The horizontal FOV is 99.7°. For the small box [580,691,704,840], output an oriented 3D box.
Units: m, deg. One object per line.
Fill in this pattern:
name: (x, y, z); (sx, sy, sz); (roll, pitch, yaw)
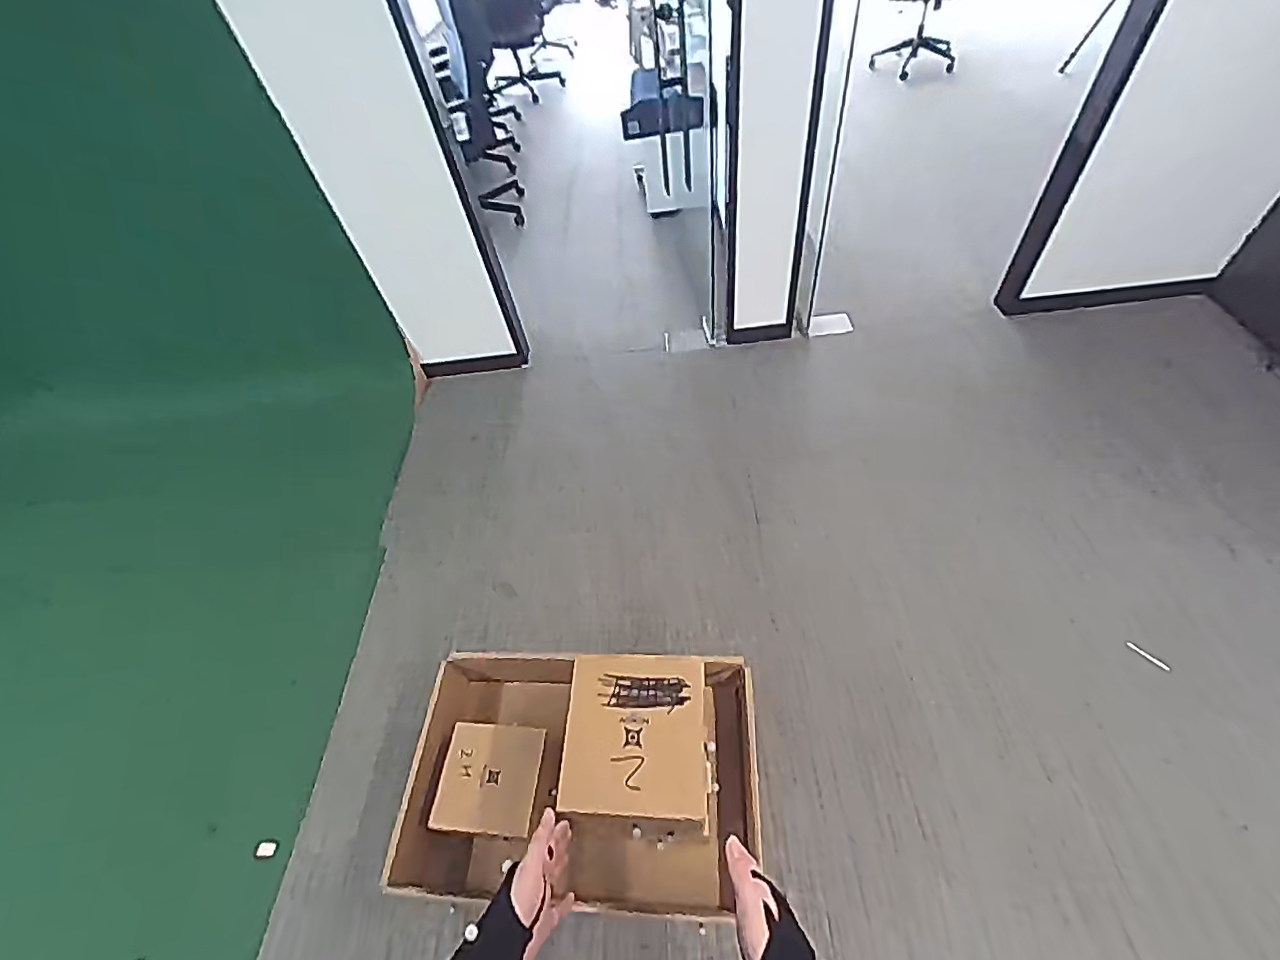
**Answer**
small box: (0.015, 0.442, 0.831); (0.168, 0.176, 0.179); (0, 52, 7)
